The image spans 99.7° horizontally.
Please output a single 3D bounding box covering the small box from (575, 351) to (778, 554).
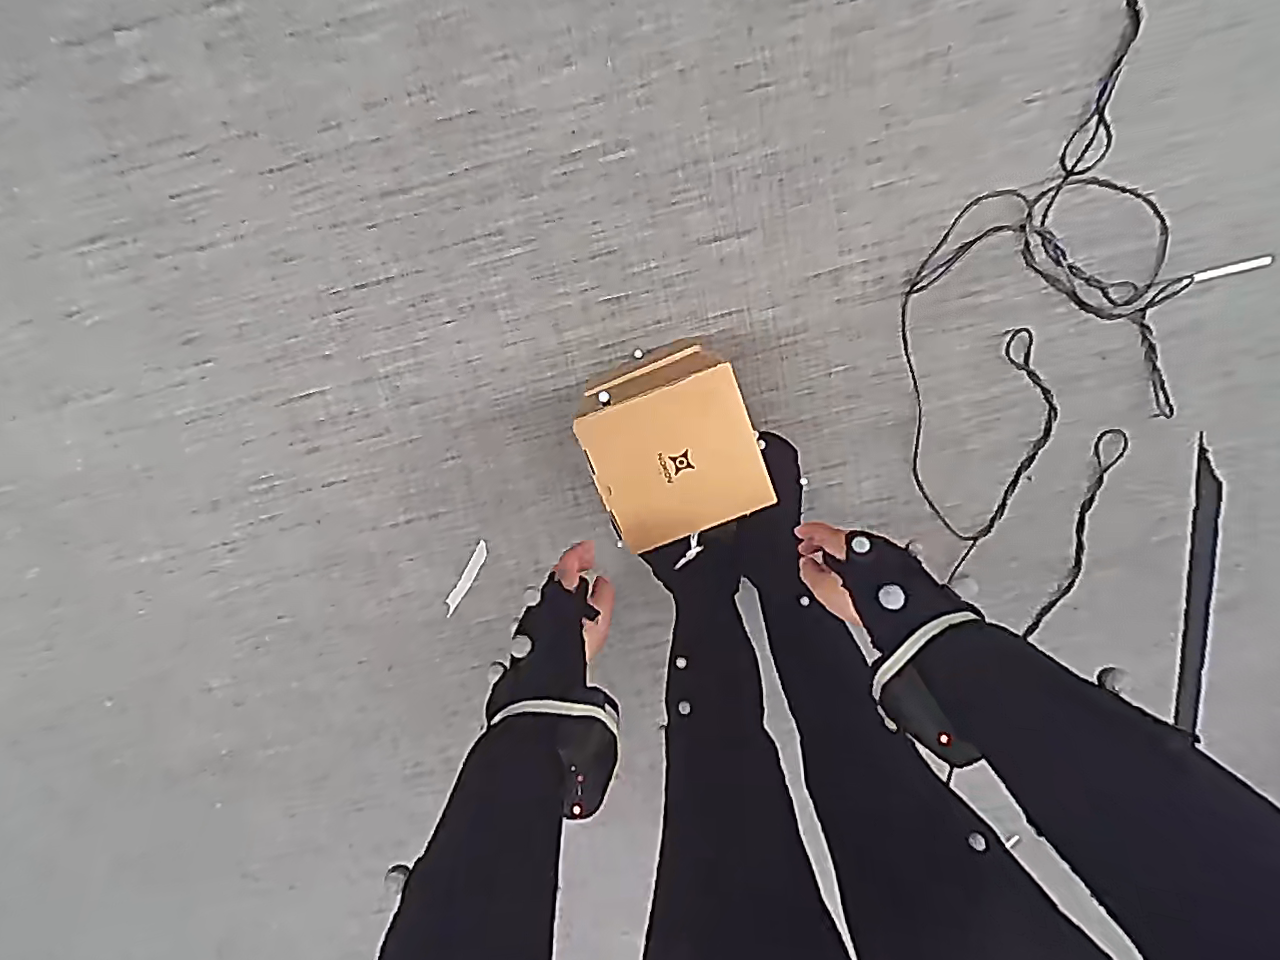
[{"bbox_3d":[0.038,-0.044,0.640,0.179,0.176,0.168,-21,107,5],"label":"small box"}]
